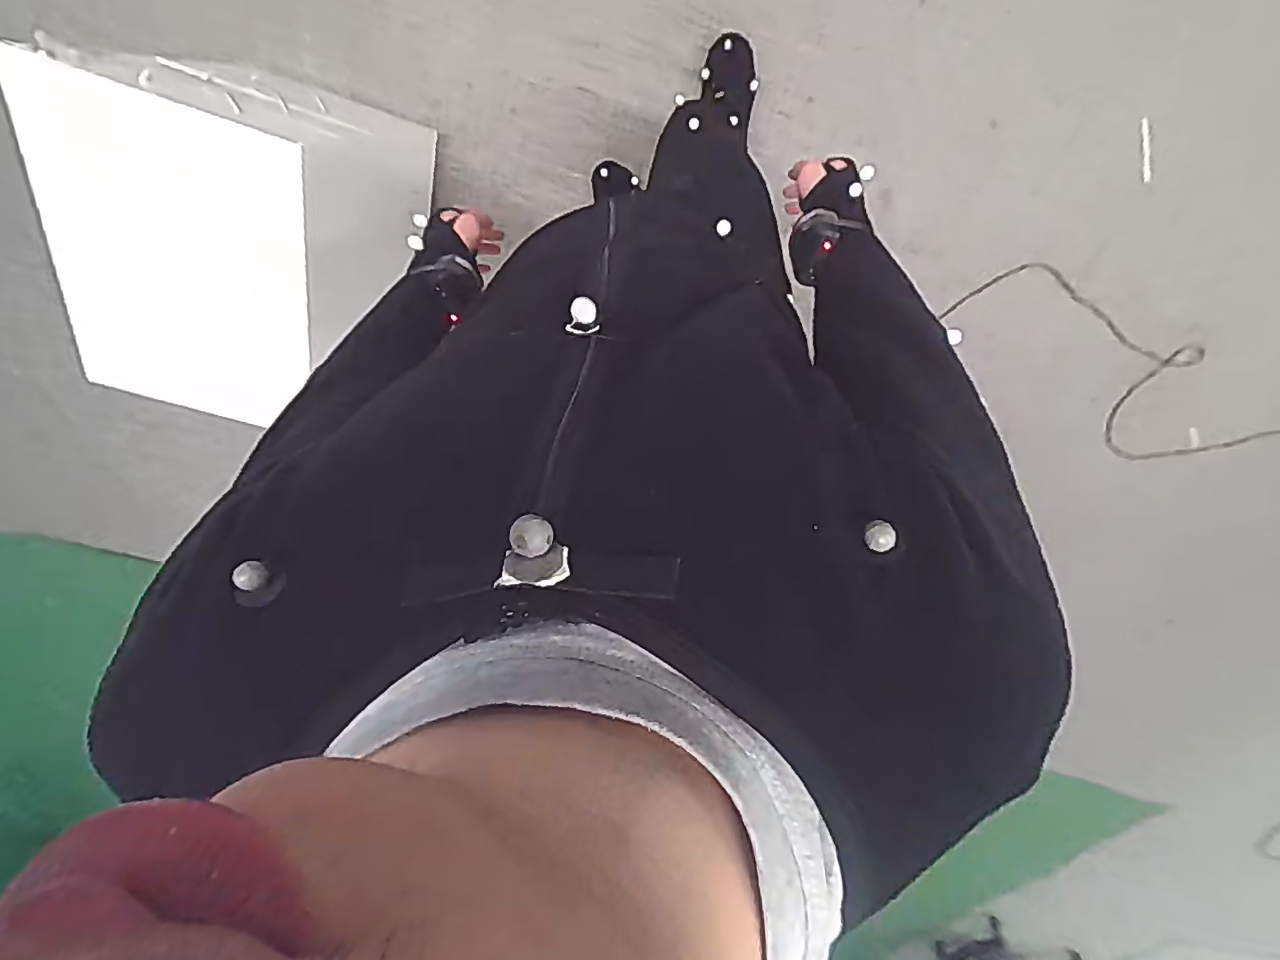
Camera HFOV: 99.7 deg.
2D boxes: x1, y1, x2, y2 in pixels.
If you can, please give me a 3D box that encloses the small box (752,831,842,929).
[{"bbox_3d":[0.430,1.120,1.522,0.179,0.176,0.168,16,124,-8],"label":"small box"}]
